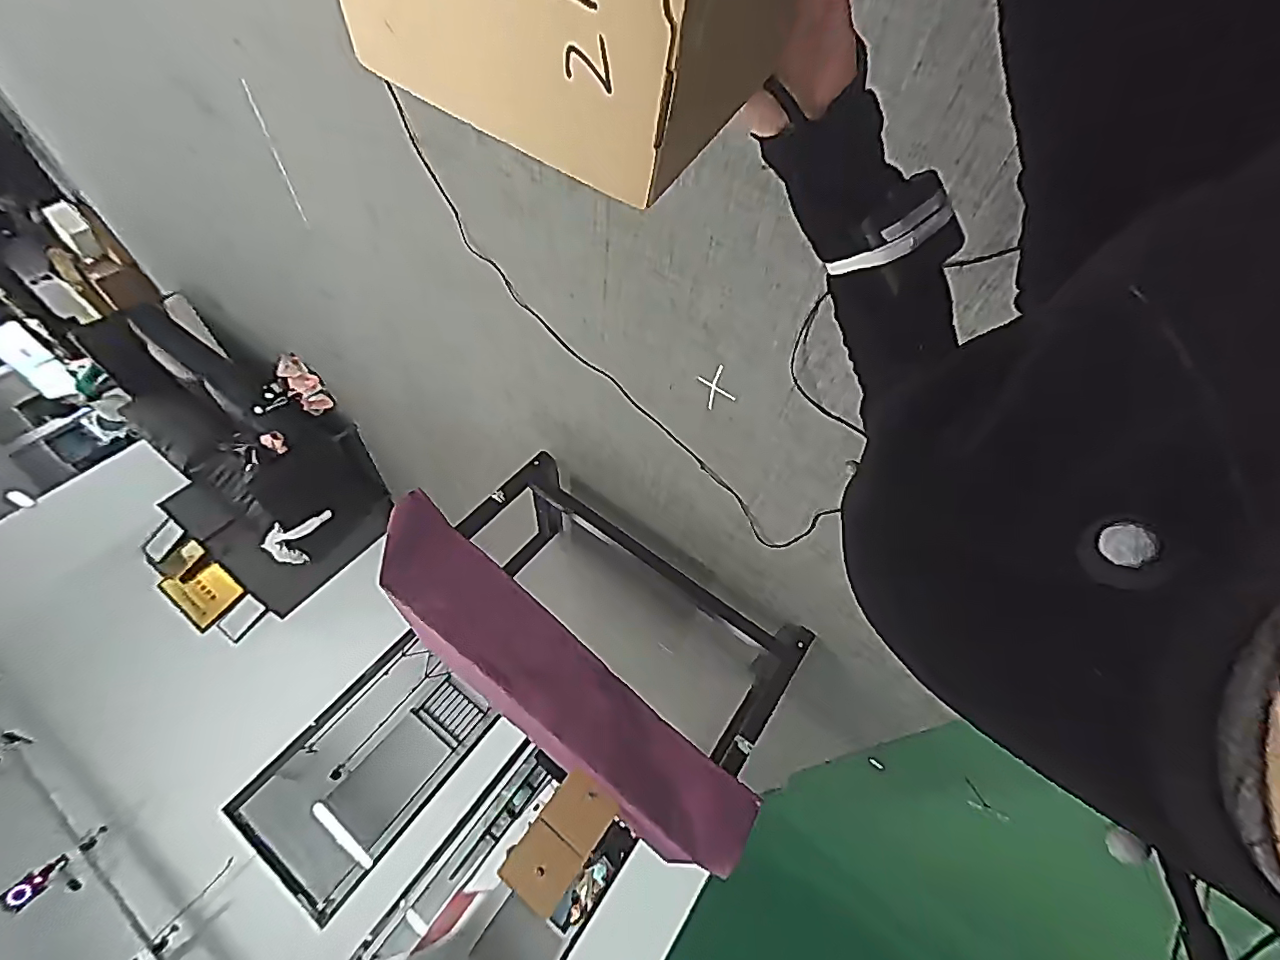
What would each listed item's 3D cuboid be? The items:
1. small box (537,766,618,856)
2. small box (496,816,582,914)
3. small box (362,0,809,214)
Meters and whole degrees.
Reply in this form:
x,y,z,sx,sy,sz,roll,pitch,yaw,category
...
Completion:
x,y,z,sx,sy,sz,roll,pitch,yaw,category
-0.187,0.997,1.640,0.179,0.176,0.168,32,148,19,small box
-0.285,1.100,1.558,0.179,0.176,0.168,32,148,18,small box
-0.013,-0.269,0.243,0.179,0.176,0.168,30,154,6,small box
